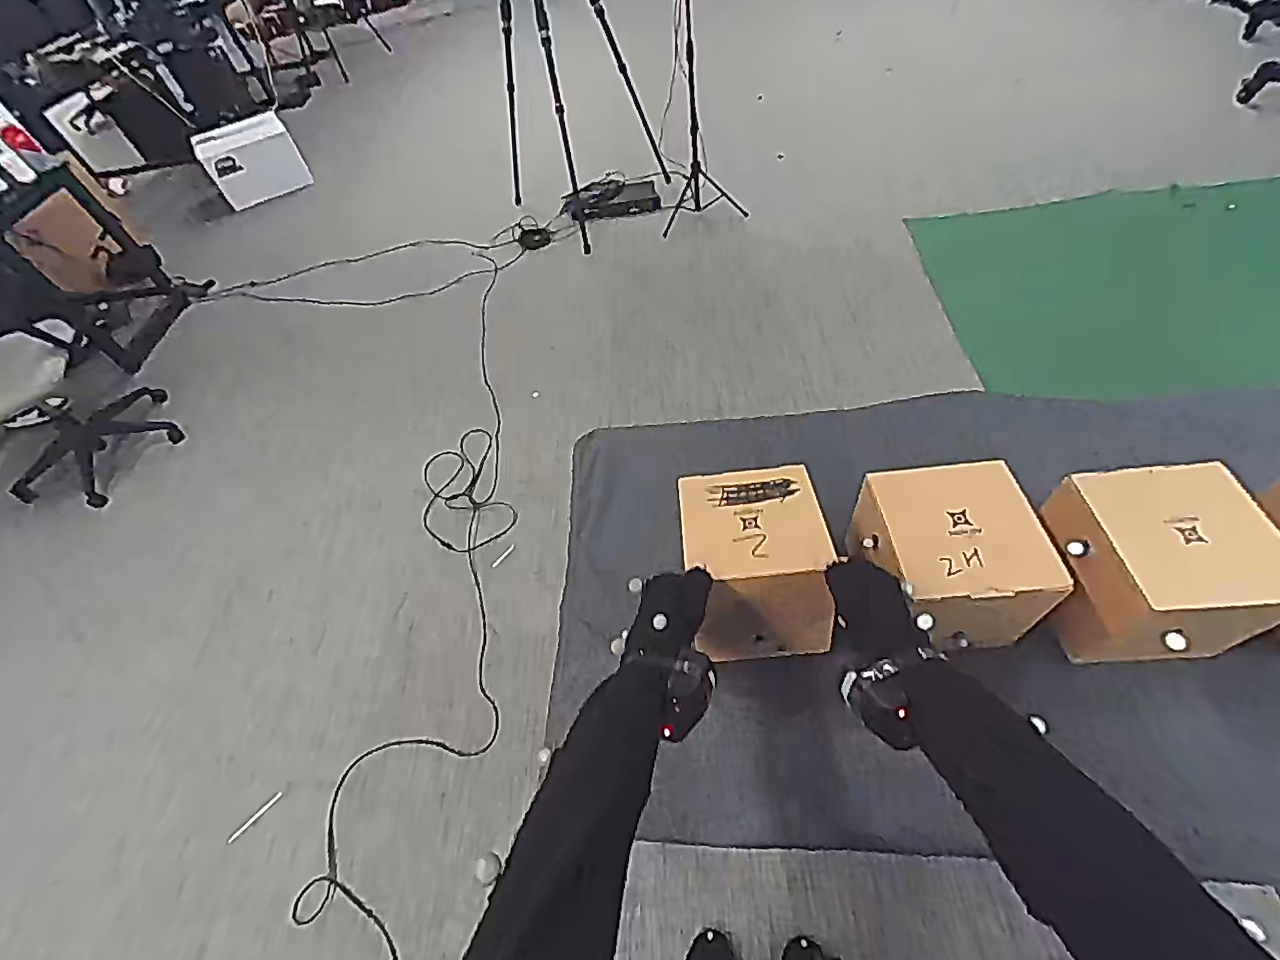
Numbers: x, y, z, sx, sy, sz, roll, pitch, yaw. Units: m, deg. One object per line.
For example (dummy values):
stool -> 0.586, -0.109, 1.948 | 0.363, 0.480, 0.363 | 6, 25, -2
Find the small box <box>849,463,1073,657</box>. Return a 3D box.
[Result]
small box -> 0.374, 0.103, 0.675 | 0.168, 0.176, 0.179 | -6, 52, 6

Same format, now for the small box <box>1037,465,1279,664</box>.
small box -> 0.595, 0.107, 0.637 | 0.168, 0.176, 0.179 | -5, 52, 6
